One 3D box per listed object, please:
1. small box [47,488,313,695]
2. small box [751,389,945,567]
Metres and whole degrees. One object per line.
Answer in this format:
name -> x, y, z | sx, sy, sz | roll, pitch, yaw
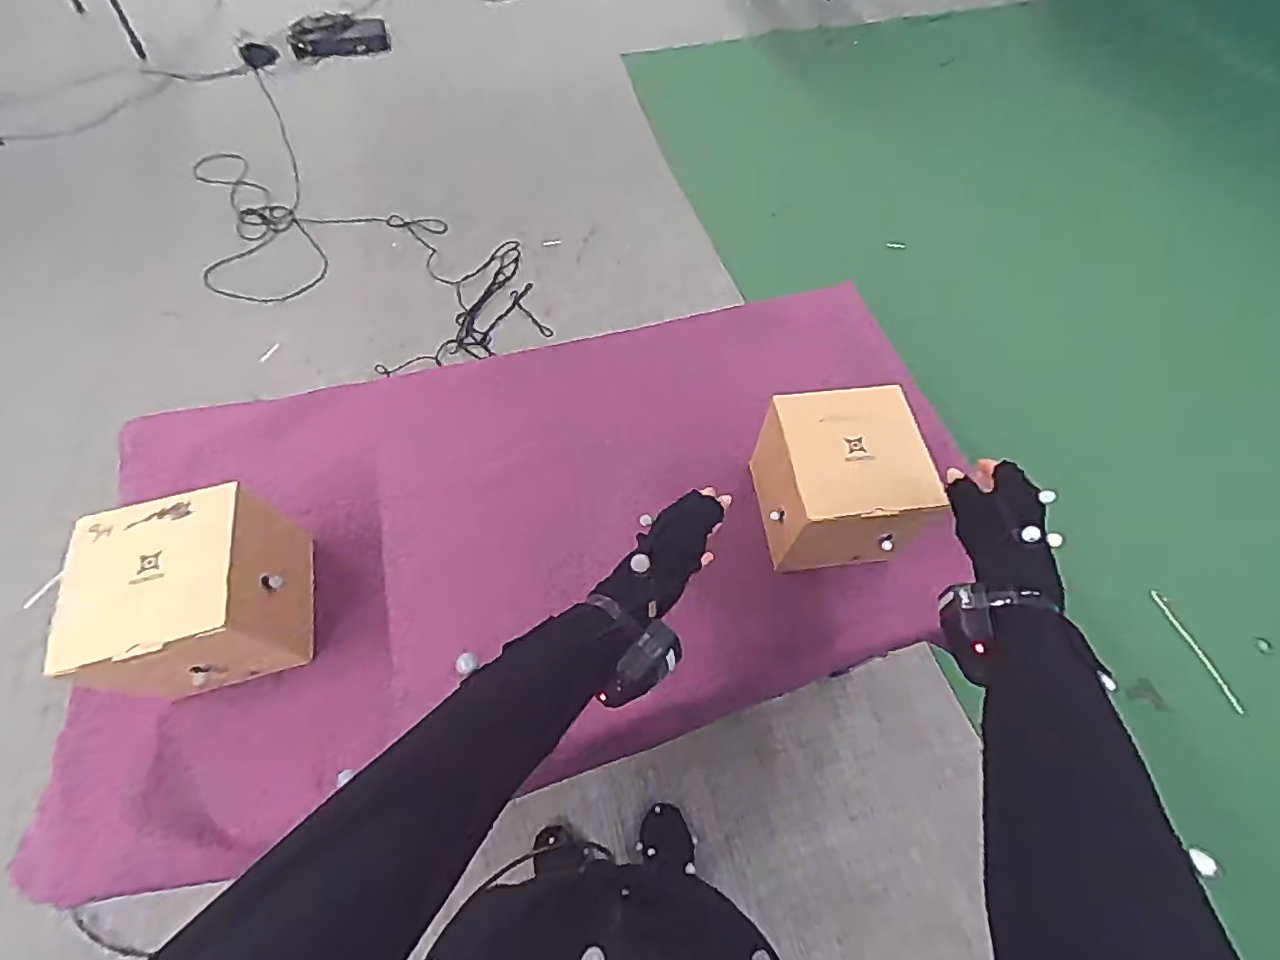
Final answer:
small box -> -0.507, 0.138, 0.630 | 0.168, 0.176, 0.179 | -14, 62, -9
small box -> 0.252, 0.006, 0.706 | 0.168, 0.176, 0.179 | -5, 60, -3
